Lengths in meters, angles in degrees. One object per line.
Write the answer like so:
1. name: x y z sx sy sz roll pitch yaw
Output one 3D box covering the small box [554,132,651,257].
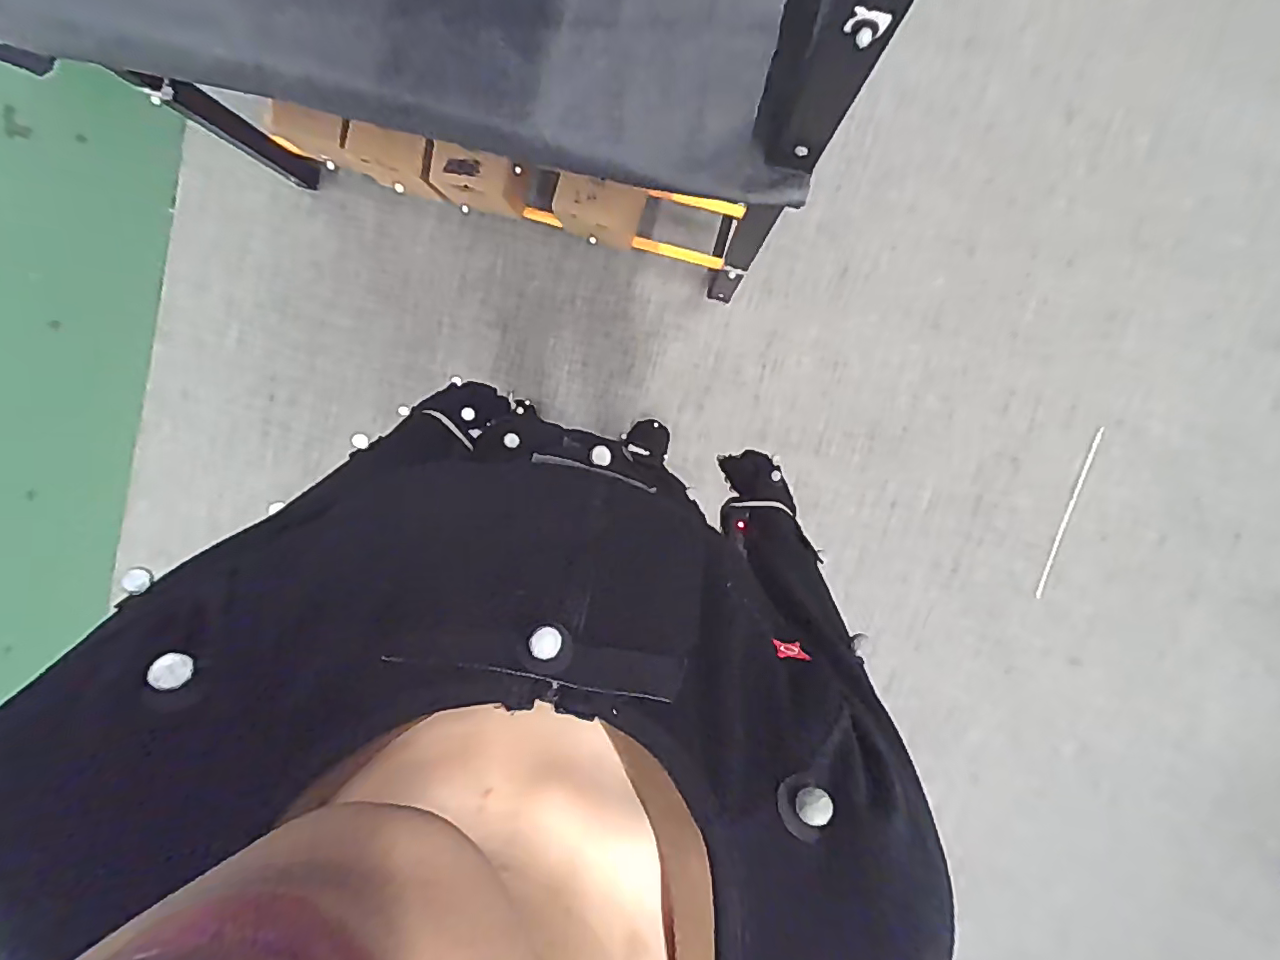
1. small box: -0.079 -0.637 1.227 0.168 0.176 0.179 20 99 1
